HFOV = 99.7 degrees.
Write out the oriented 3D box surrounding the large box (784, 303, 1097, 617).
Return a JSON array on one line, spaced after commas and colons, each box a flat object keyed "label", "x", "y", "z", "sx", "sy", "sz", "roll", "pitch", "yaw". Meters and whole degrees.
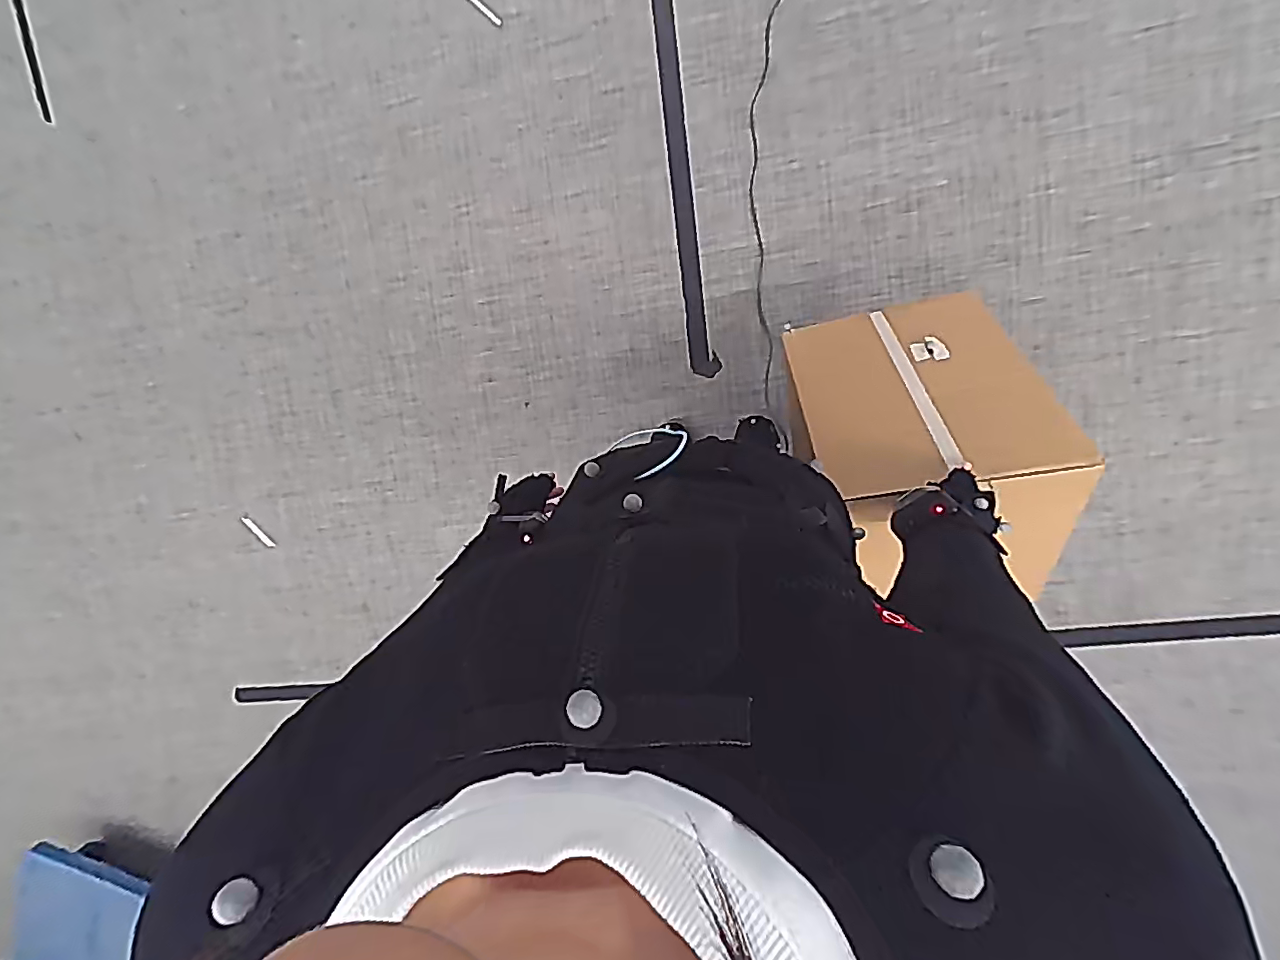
[{"label": "large box", "x": 0.442, "y": -0.034, "z": 0.911, "sx": 0.320, "sy": 0.408, "sz": 0.320, "roll": -9, "pitch": 135, "yaw": 11}]
